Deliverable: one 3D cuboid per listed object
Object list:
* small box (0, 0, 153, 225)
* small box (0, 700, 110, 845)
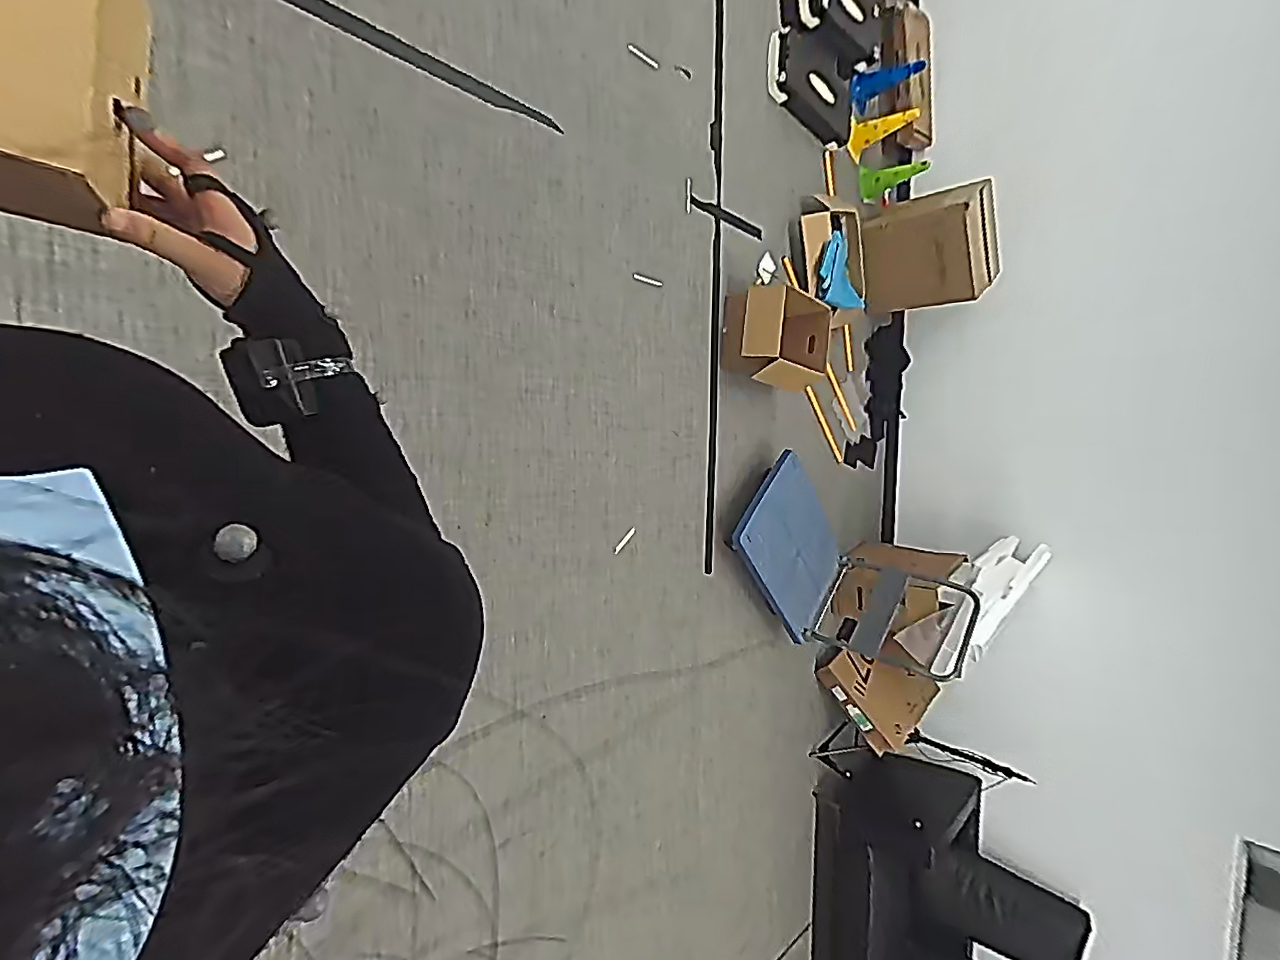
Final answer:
[{"bbox_3d":[-0.387,-0.256,0.287,0.179,0.176,0.168,5,95,-36],"label":"small box"},{"bbox_3d":[-1.105,0.530,1.004,0.168,0.176,0.179,1,94,-44],"label":"small box"}]
